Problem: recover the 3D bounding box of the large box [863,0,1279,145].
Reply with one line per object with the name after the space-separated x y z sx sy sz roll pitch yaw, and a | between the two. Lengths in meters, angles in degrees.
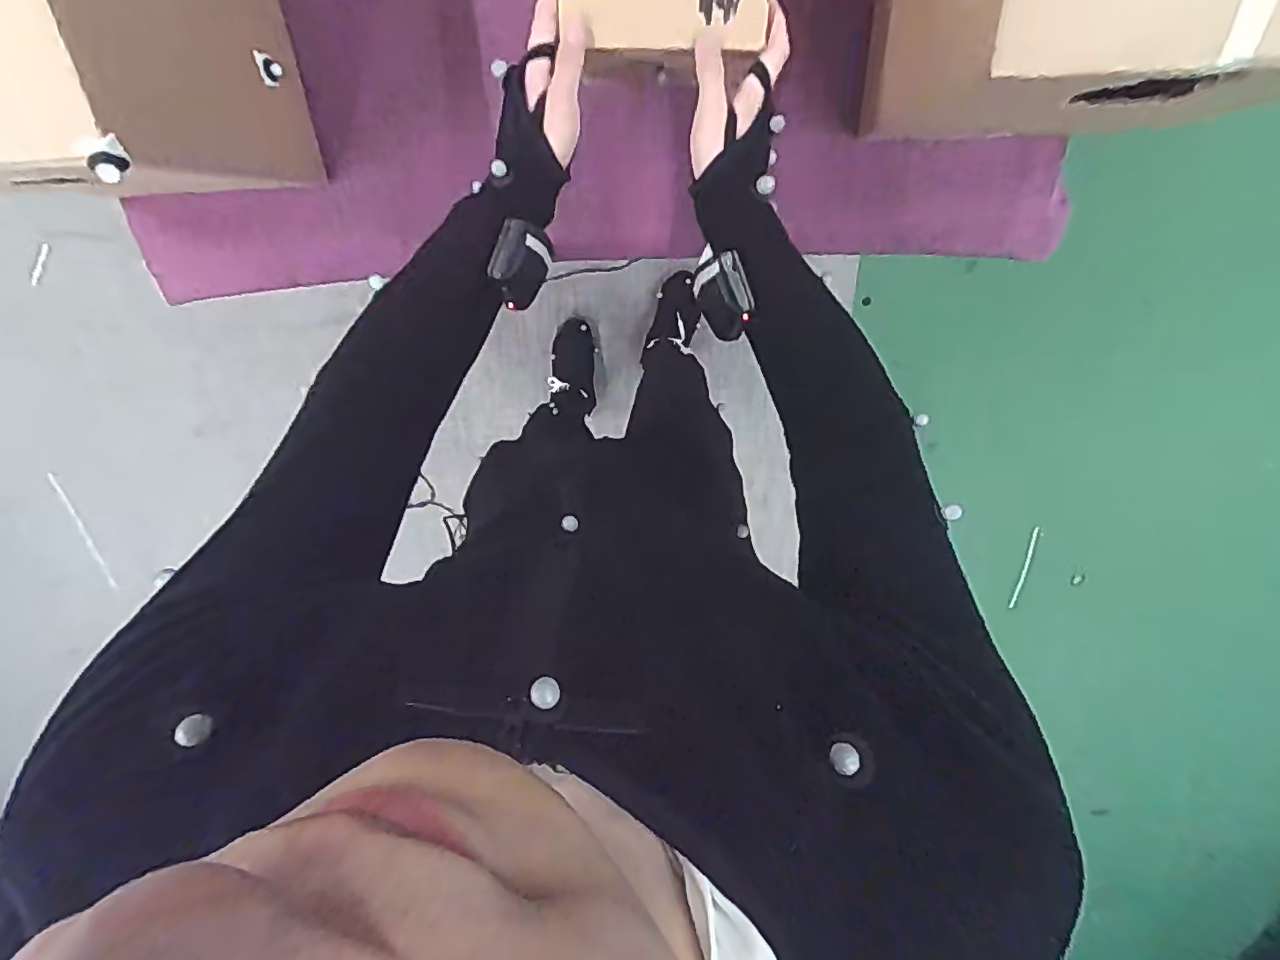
0.403 -0.521 0.428 0.320 0.320 0.408 1 116 4 | large box
